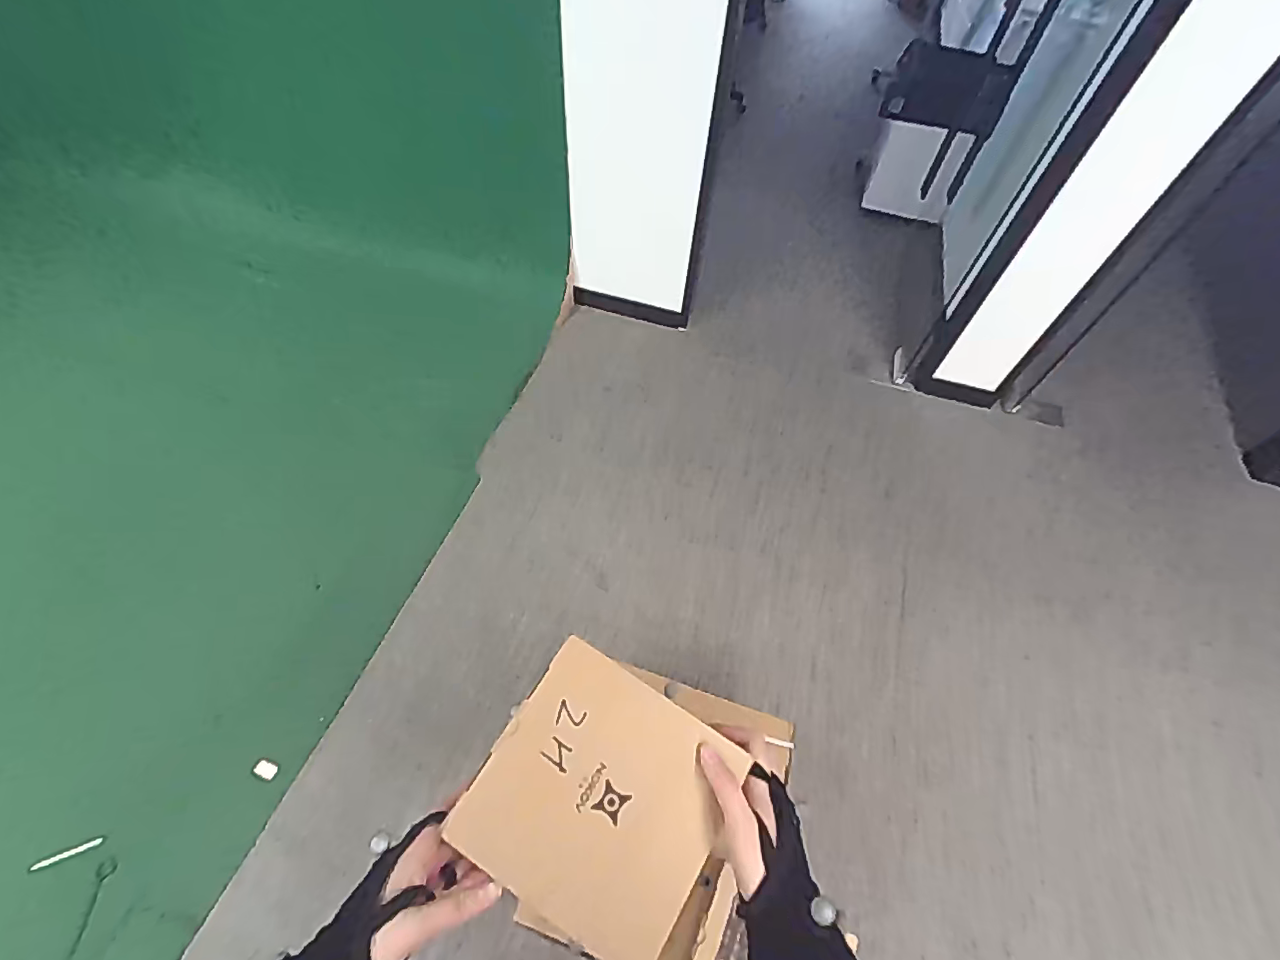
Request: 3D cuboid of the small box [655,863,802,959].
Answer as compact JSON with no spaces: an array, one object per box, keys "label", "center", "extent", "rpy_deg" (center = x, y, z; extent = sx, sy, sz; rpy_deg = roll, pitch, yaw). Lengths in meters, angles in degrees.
[{"label":"small box","center":[0.123,0.710,0.810],"extent":[0.168,0.176,0.179],"rpy_deg":[20,54,9]}]
